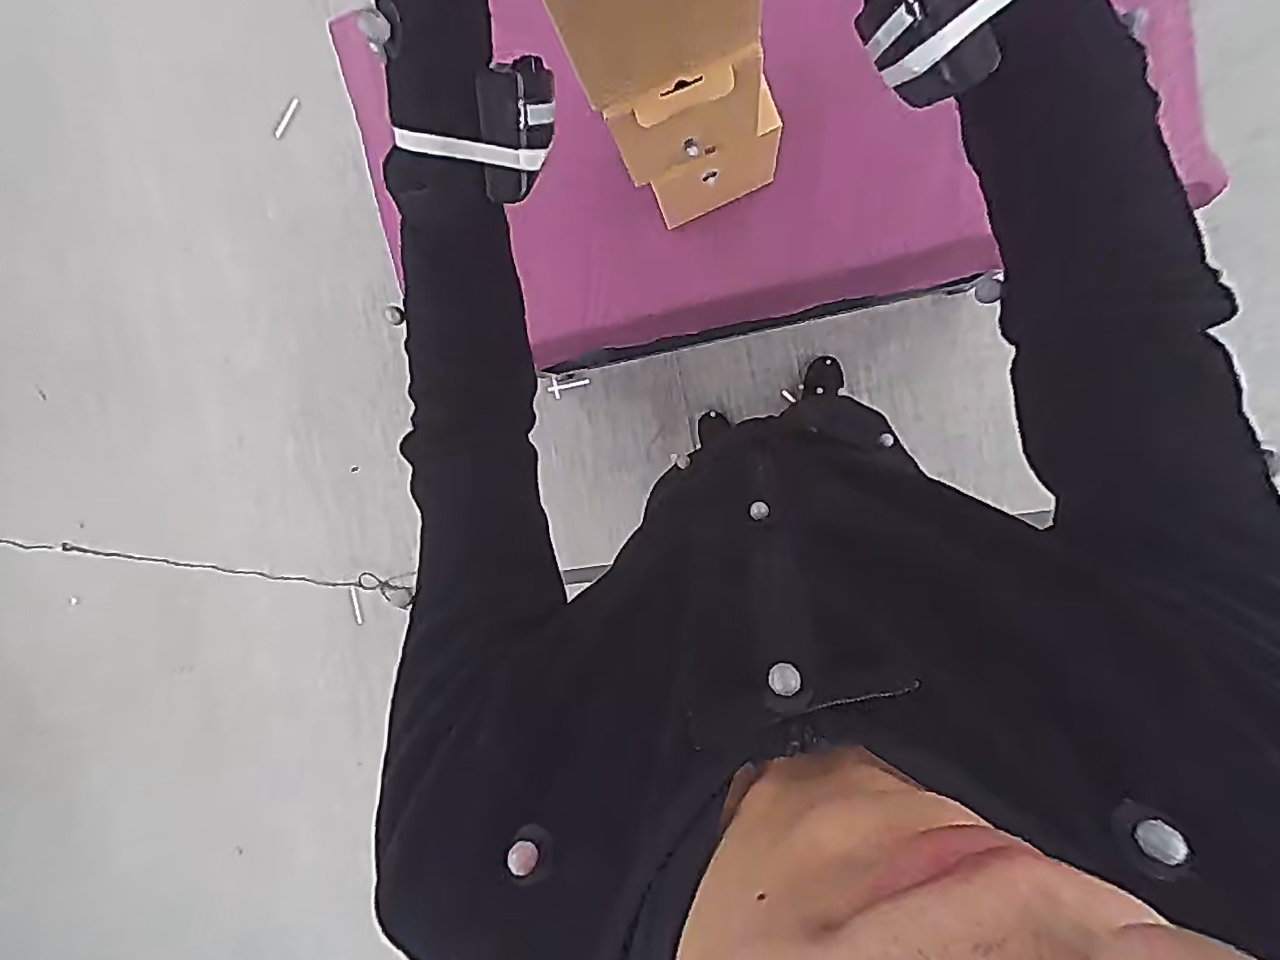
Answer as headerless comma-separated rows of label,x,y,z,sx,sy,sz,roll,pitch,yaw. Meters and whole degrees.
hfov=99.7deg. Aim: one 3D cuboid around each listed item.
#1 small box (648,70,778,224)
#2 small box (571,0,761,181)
small box,0.080,-0.494,0.760,0.179,0.176,0.168,-21,93,11
small box,0.030,-0.478,0.603,0.168,0.176,0.179,-15,94,12
